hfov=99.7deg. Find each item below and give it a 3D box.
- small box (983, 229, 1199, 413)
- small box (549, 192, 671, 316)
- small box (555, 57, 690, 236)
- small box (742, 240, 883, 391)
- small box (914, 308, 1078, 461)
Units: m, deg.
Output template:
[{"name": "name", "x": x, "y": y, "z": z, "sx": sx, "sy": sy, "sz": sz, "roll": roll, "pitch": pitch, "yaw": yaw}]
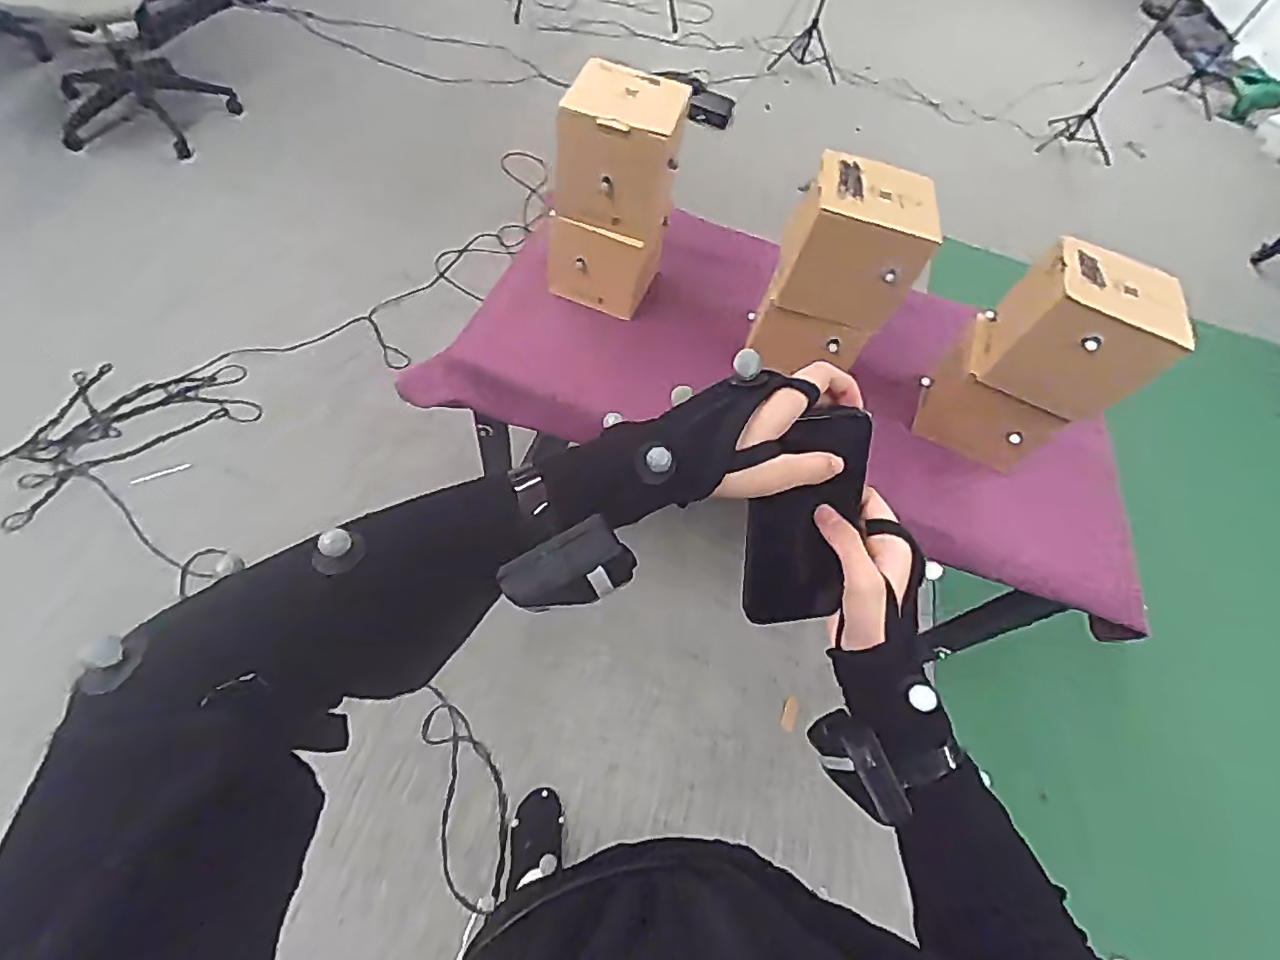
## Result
[{"name": "small box", "x": 0.644, "y": -0.227, "z": 0.797, "sx": 0.179, "sy": 0.176, "sz": 0.168, "roll": 25, "pitch": 58, "yaw": 6}, {"name": "small box", "x": -0.056, "y": -0.436, "z": 1.002, "sx": 0.168, "sy": 0.176, "sz": 0.179, "roll": 21, "pitch": 58, "yaw": 3}, {"name": "small box", "x": -0.031, "y": -0.527, "z": 0.867, "sx": 0.168, "sy": 0.176, "sz": 0.179, "roll": 17, "pitch": 58, "yaw": 0}, {"name": "small box", "x": 0.304, "y": -0.286, "z": 0.968, "sx": 0.179, "sy": 0.176, "sz": 0.168, "roll": 20, "pitch": 58, "yaw": 3}, {"name": "small box", "x": 0.618, "y": -0.158, "z": 0.943, "sx": 0.179, "sy": 0.176, "sz": 0.168, "roll": 25, "pitch": 58, "yaw": 7}]
